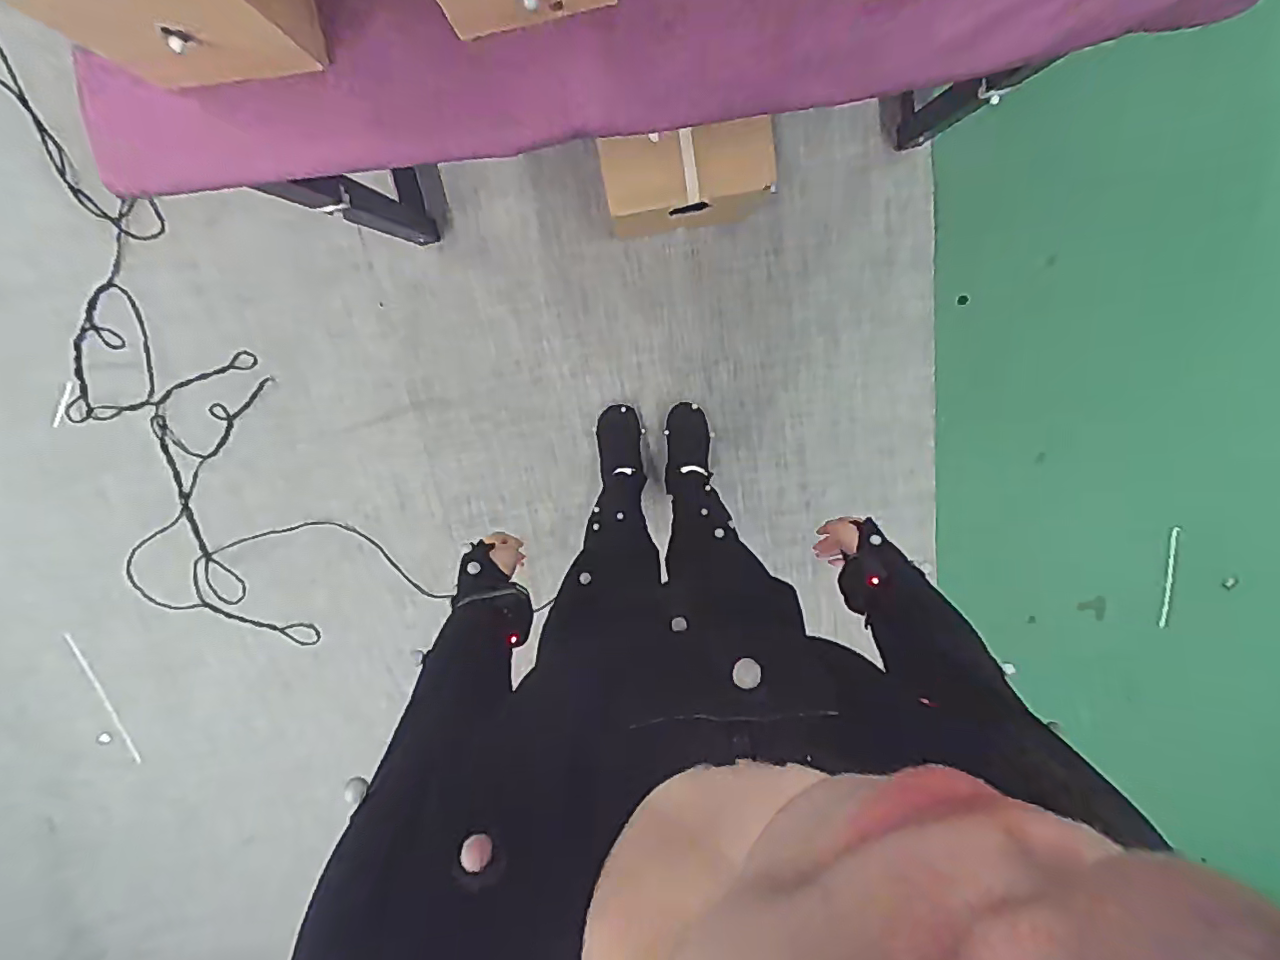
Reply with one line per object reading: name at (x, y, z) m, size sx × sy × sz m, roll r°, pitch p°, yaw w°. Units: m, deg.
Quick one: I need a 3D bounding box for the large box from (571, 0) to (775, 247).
large box at (0.058, -0.724, 1.082) m, size 0.320 × 0.320 × 0.408 m, roll -10°, pitch 107°, yaw 3°
